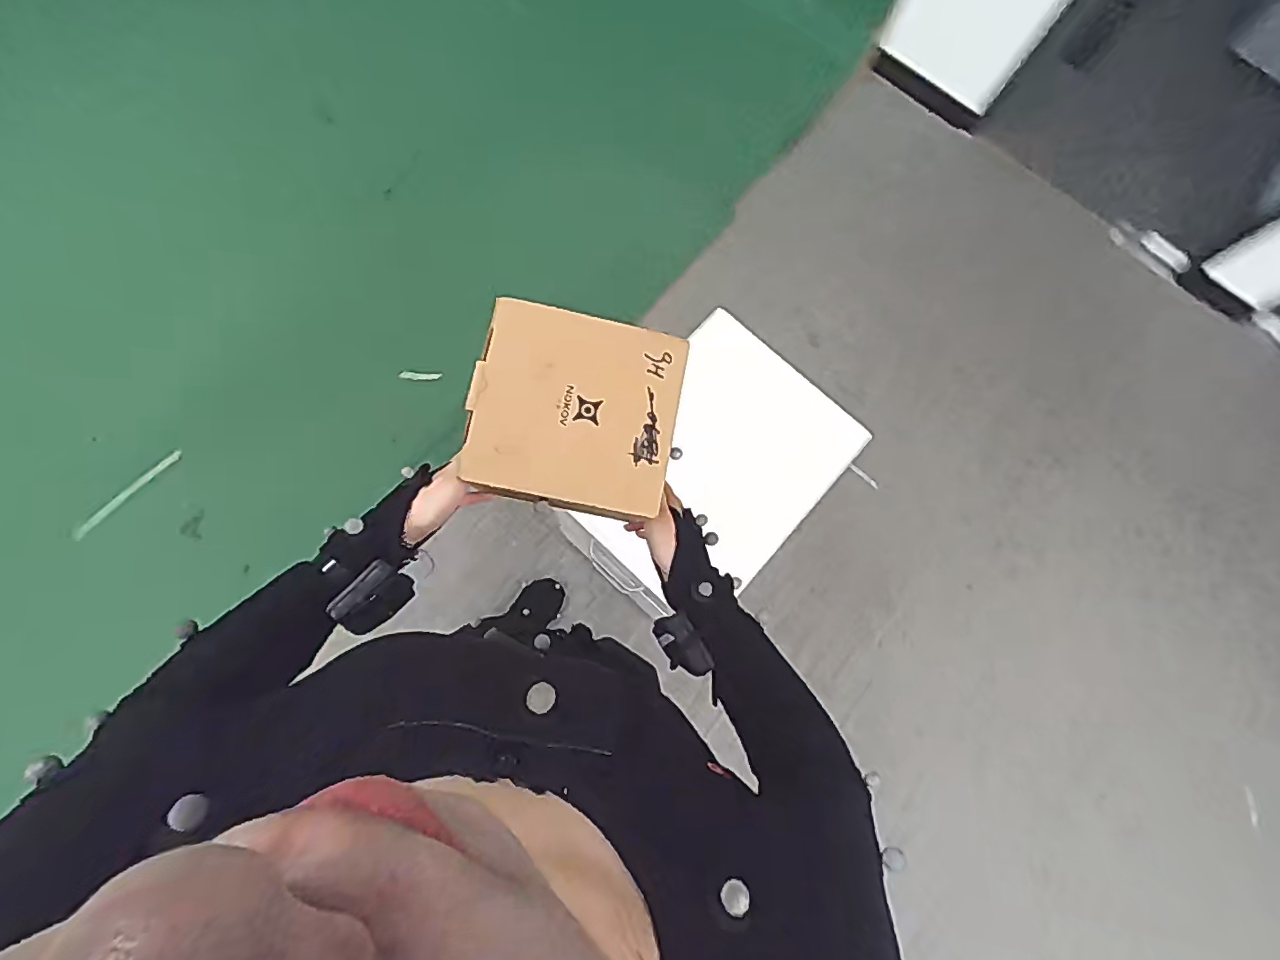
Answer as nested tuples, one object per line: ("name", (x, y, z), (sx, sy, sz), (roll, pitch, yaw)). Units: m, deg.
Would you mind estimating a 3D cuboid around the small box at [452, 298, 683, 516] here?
("small box", (-0.070, -0.057, 0.548), (0.179, 0.176, 0.168), (11, 84, -7))
